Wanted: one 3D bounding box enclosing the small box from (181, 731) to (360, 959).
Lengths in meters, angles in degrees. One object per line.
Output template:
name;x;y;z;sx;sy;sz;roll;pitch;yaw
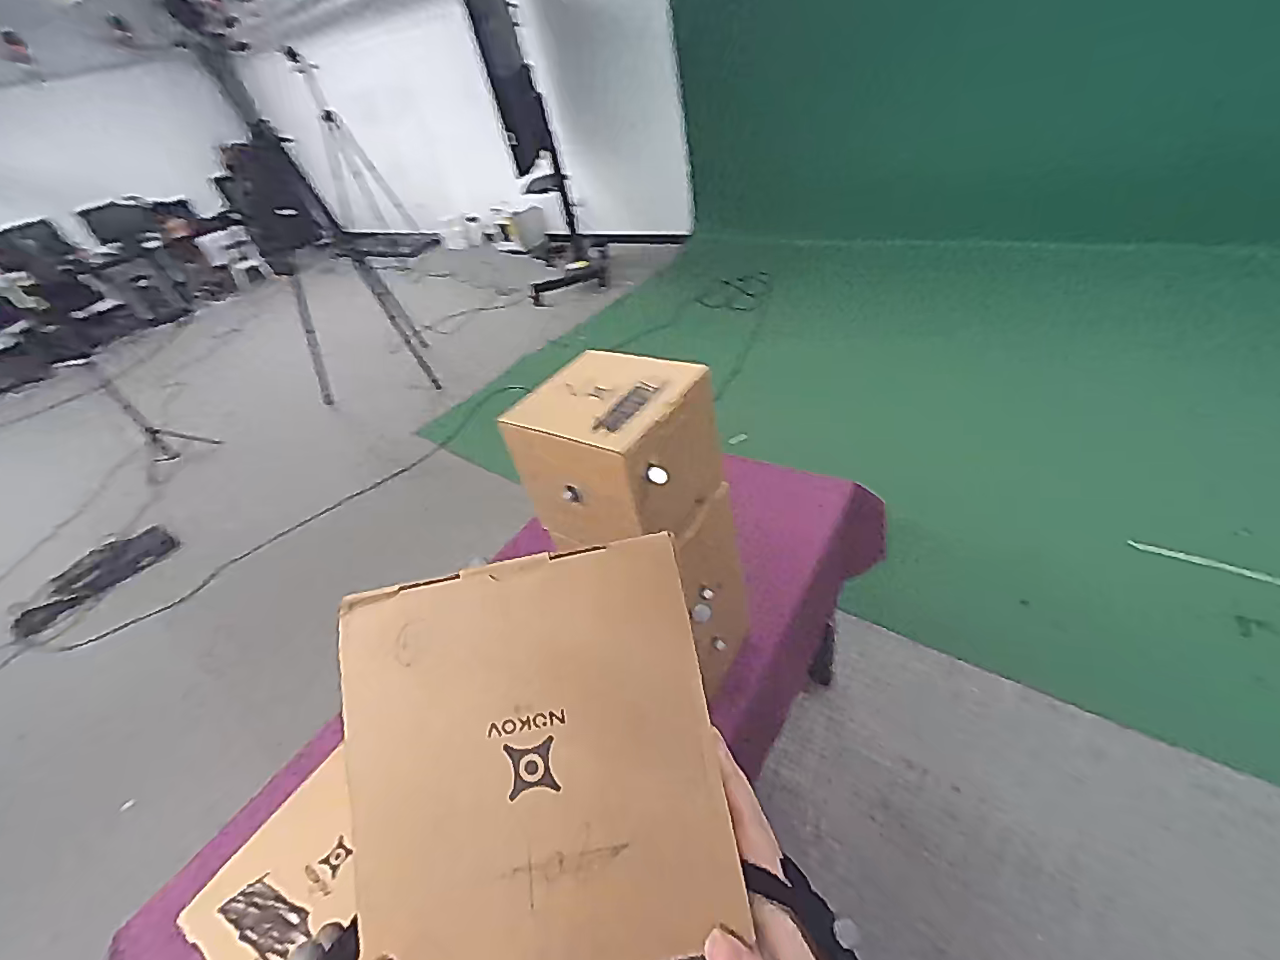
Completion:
small box;-0.233;0.365;0.479;0.168;0.176;0.179;15;46;31

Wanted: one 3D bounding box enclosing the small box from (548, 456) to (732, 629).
small box;0.009;0.095;0.736;0.179;0.176;0.168;16;47;32

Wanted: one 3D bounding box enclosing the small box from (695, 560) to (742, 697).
small box;0.048;0.218;0.836;0.168;0.176;0.179;15;47;31

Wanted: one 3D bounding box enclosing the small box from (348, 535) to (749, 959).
small box;-0.044;0.141;0.320;0.168;0.176;0.179;-11;77;1
